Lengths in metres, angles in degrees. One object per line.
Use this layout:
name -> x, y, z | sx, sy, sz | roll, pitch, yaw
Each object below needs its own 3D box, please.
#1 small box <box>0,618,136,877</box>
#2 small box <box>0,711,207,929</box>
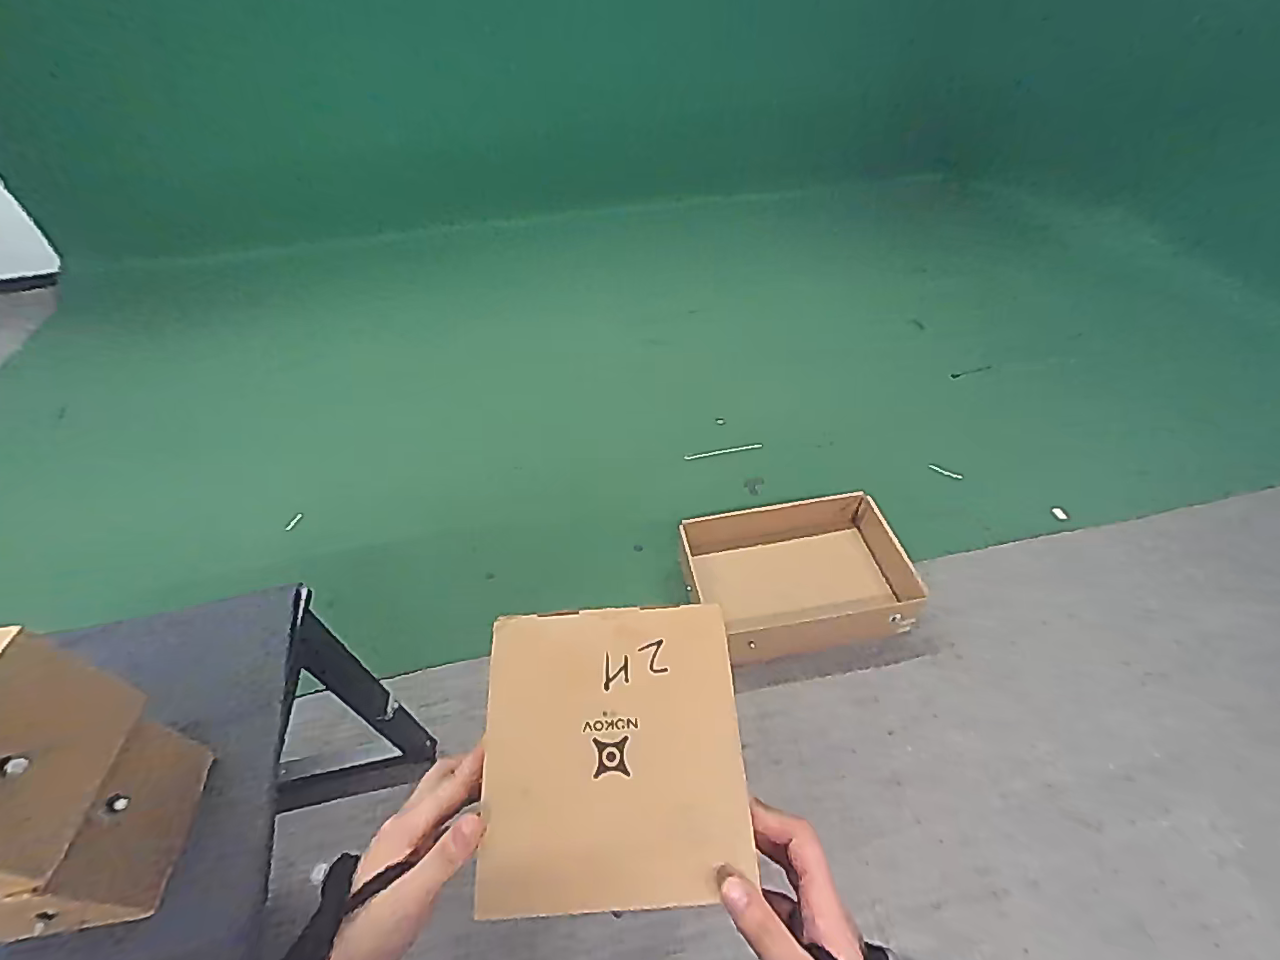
small box -> -0.625, 0.248, 0.485 | 0.168, 0.176, 0.179 | -5, 48, -2
small box -> -0.633, 0.371, 0.595 | 0.168, 0.176, 0.179 | -7, 46, -4
